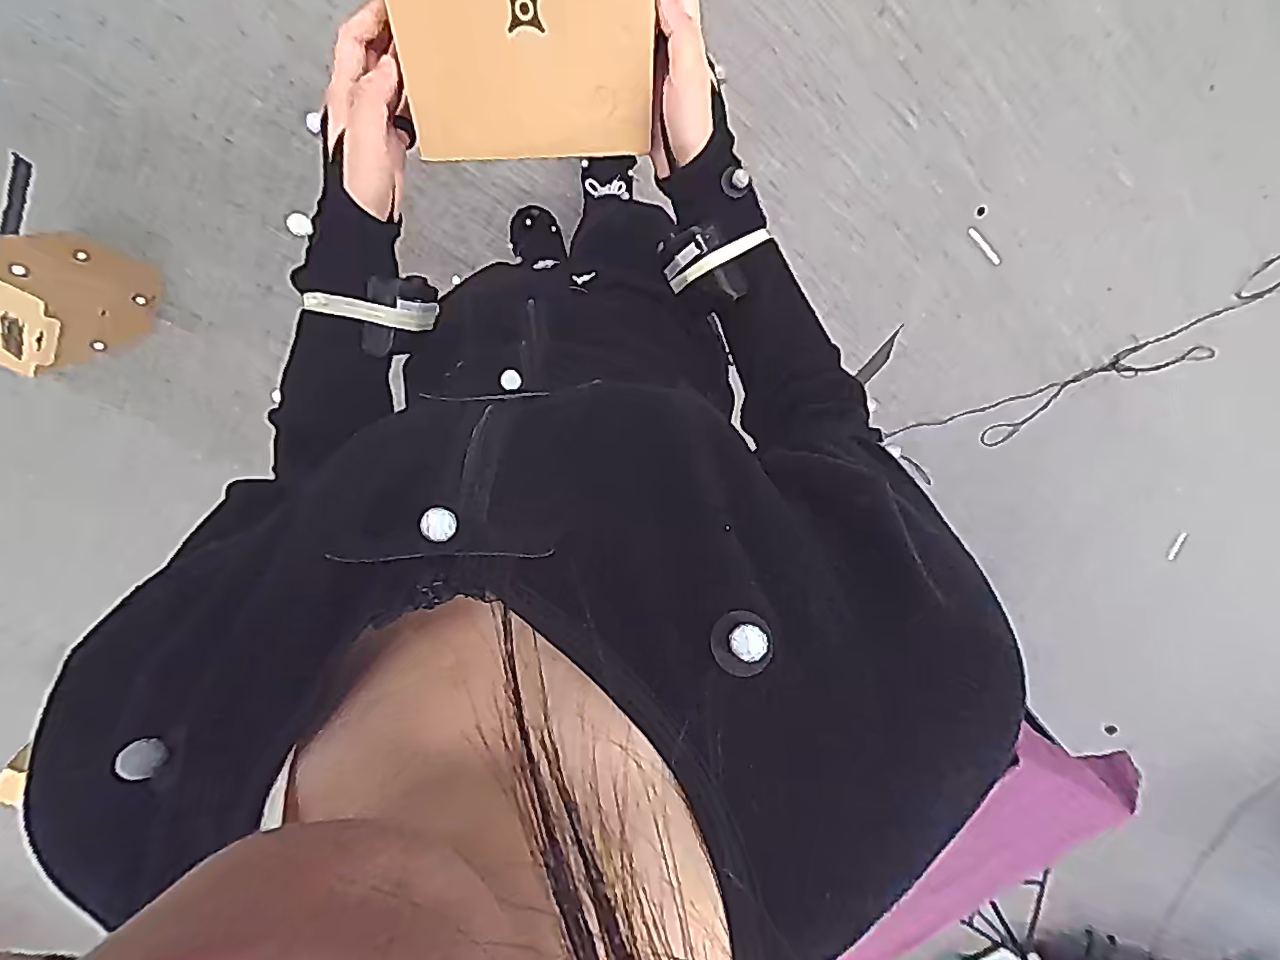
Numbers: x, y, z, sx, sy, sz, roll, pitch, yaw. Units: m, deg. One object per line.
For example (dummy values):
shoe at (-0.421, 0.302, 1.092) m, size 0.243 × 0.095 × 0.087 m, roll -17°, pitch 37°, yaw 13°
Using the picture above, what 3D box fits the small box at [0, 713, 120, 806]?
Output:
small box at (-1.724, 0.823, 1.605) m, size 0.179 × 0.176 × 0.168 m, roll 34°, pitch 111°, yaw -25°

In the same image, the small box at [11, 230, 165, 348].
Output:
small box at (-1.177, -0.415, 1.157) m, size 0.179 × 0.176 × 0.168 m, roll 27°, pitch 112°, yaw -20°

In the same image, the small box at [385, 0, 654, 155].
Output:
small box at (-0.084, -0.353, 0.384) m, size 0.168 × 0.176 × 0.179 m, roll -7°, pitch 135°, yaw -8°

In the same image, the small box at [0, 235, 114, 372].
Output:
small box at (-1.153, -0.336, 1.014) m, size 0.179 × 0.176 × 0.168 m, roll 27°, pitch 112°, yaw -21°
